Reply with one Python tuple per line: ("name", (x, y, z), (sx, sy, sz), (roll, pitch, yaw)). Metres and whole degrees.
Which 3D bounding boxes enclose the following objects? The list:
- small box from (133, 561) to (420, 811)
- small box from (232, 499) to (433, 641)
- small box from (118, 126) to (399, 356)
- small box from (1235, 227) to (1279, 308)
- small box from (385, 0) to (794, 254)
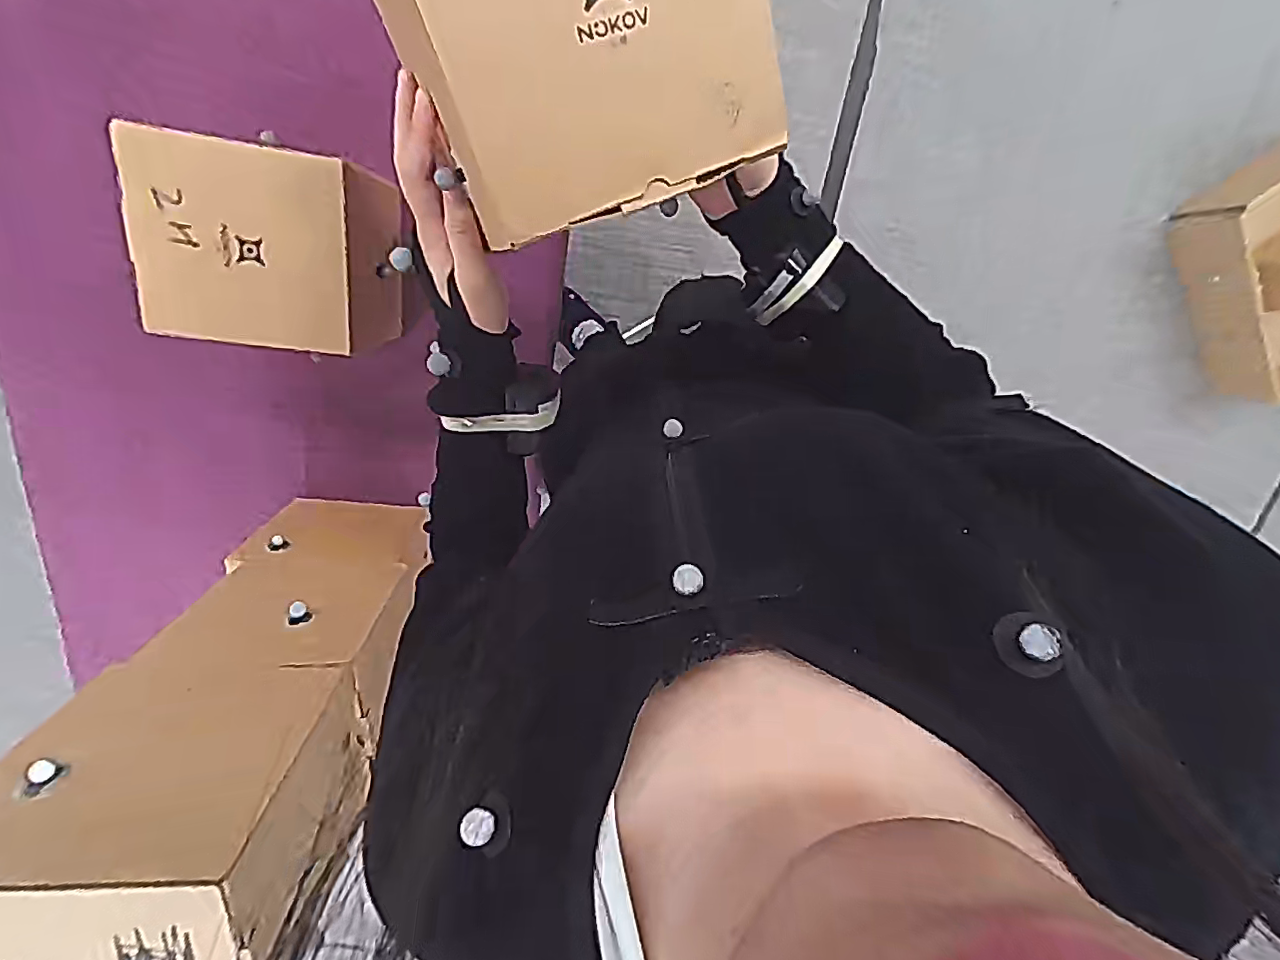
("small box", (-0.329, 0.191, 0.540), (0.179, 0.176, 0.168), (0, 111, -7))
("small box", (-0.370, 0.133, 0.690), (0.179, 0.176, 0.168), (5, 111, -8))
("small box", (-0.353, -0.230, 0.546), (0.179, 0.176, 0.168), (5, 110, -9))
("small box", (1.752, -0.573, 1.427), (0.179, 0.176, 0.168), (-36, 111, 8))
("small box", (-0.039, -0.247, 0.313), (0.168, 0.176, 0.179), (-26, 118, -11))
